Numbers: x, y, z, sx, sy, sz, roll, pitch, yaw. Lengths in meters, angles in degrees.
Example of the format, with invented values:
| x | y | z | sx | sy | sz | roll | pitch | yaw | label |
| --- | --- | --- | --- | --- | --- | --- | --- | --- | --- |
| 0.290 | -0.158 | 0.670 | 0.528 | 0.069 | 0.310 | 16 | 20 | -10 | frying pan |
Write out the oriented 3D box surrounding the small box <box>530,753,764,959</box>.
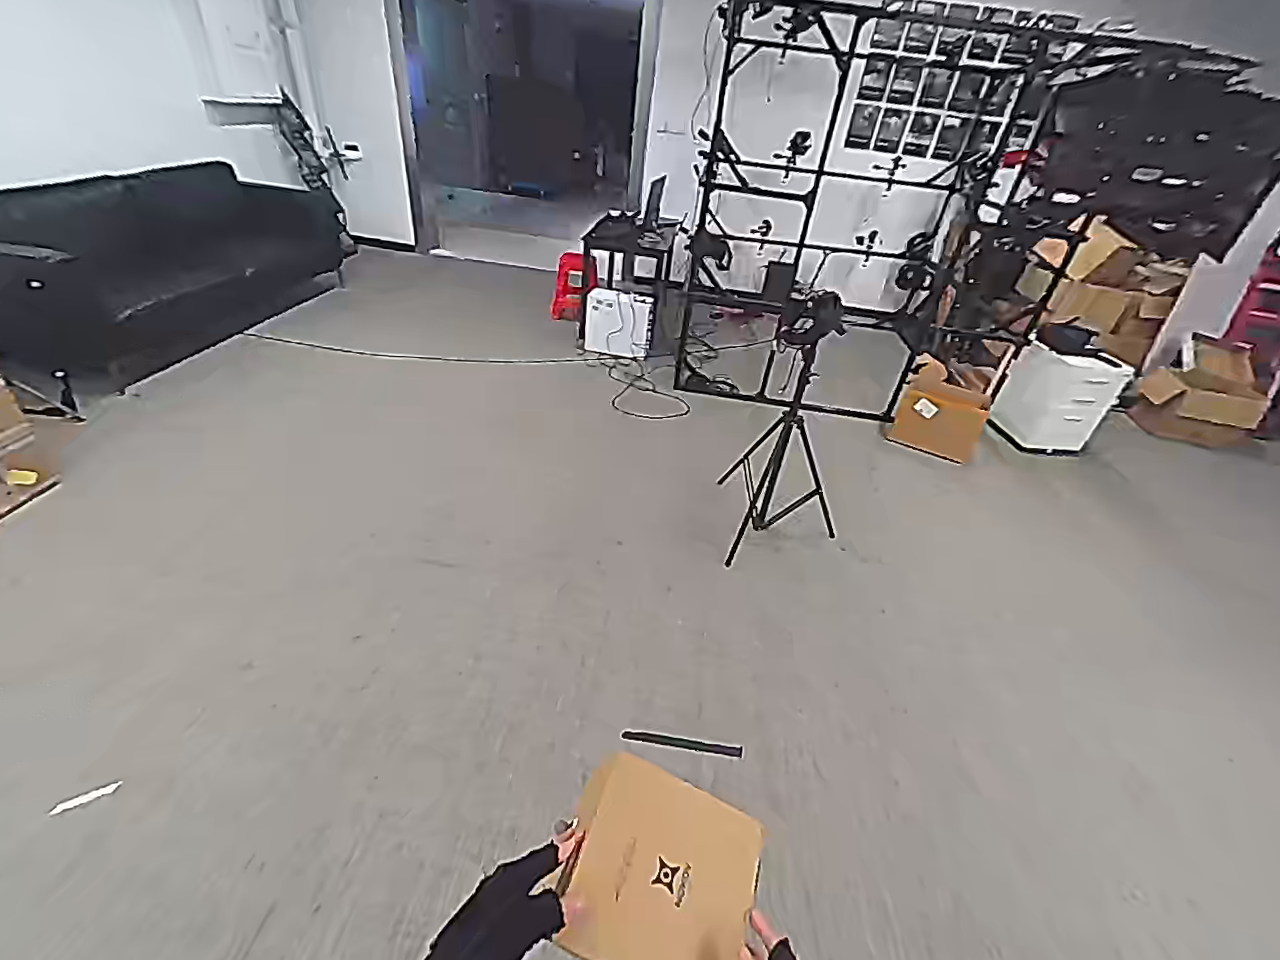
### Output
| x | y | z | sx | sy | sz | roll | pitch | yaw | label |
| --- | --- | --- | --- | --- | --- | --- | --- | --- | --- |
| 0.003 | 0.423 | 0.574 | 0.179 | 0.176 | 0.168 | 26 | 49 | 1 | small box |
